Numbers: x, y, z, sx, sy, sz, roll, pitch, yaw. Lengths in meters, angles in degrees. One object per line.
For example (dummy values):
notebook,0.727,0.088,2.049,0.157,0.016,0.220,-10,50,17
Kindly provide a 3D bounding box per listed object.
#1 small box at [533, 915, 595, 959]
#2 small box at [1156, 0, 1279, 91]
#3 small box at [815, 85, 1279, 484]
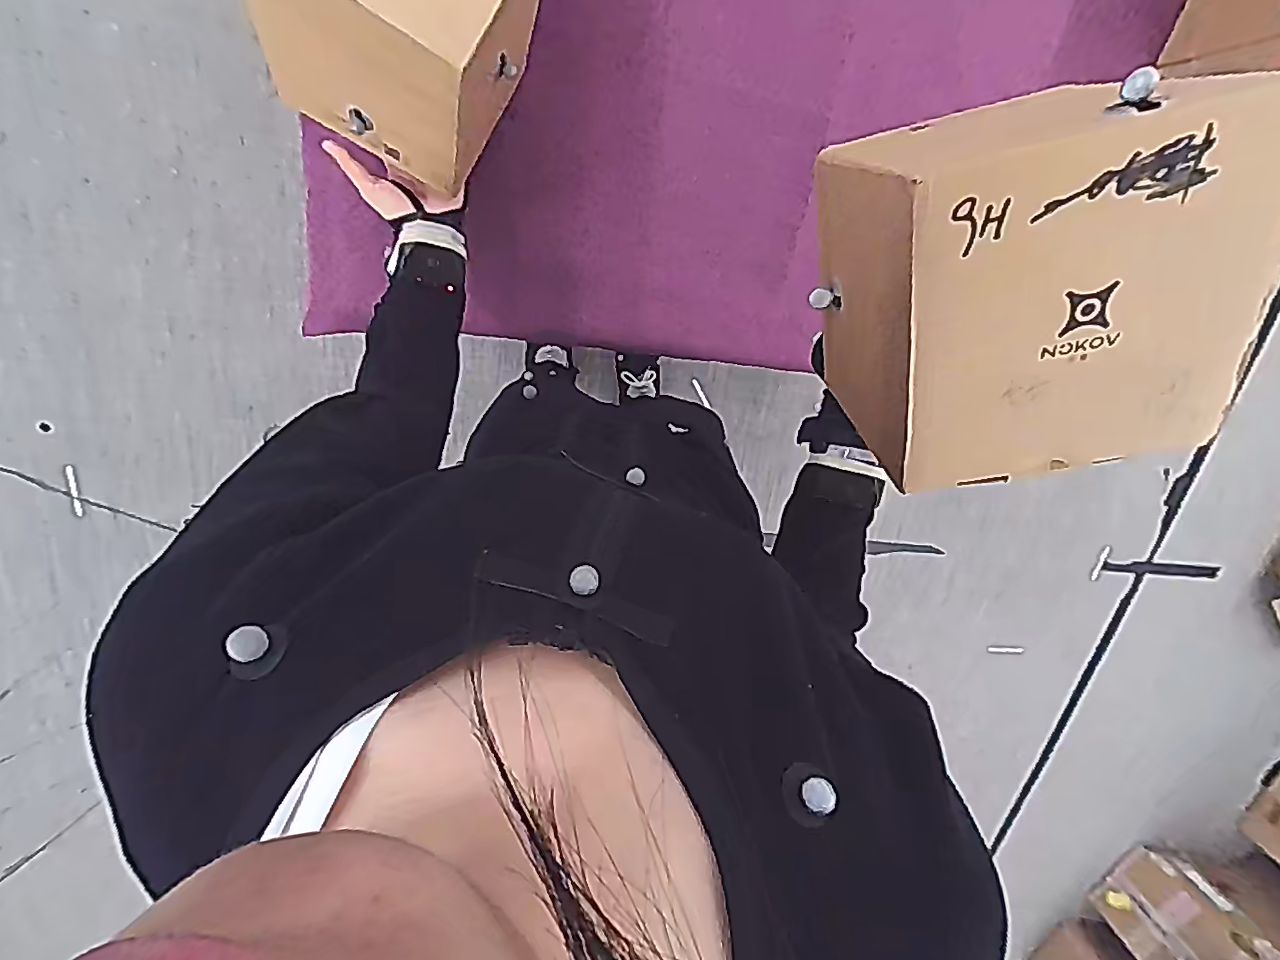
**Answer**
small box,-0.245,1.555,1.753,0.179,0.176,0.168,12,109,-13
small box,0.727,-0.533,0.576,0.168,0.176,0.179,9,115,-12
small box,0.214,-0.125,0.338,0.168,0.176,0.179,-11,124,6
